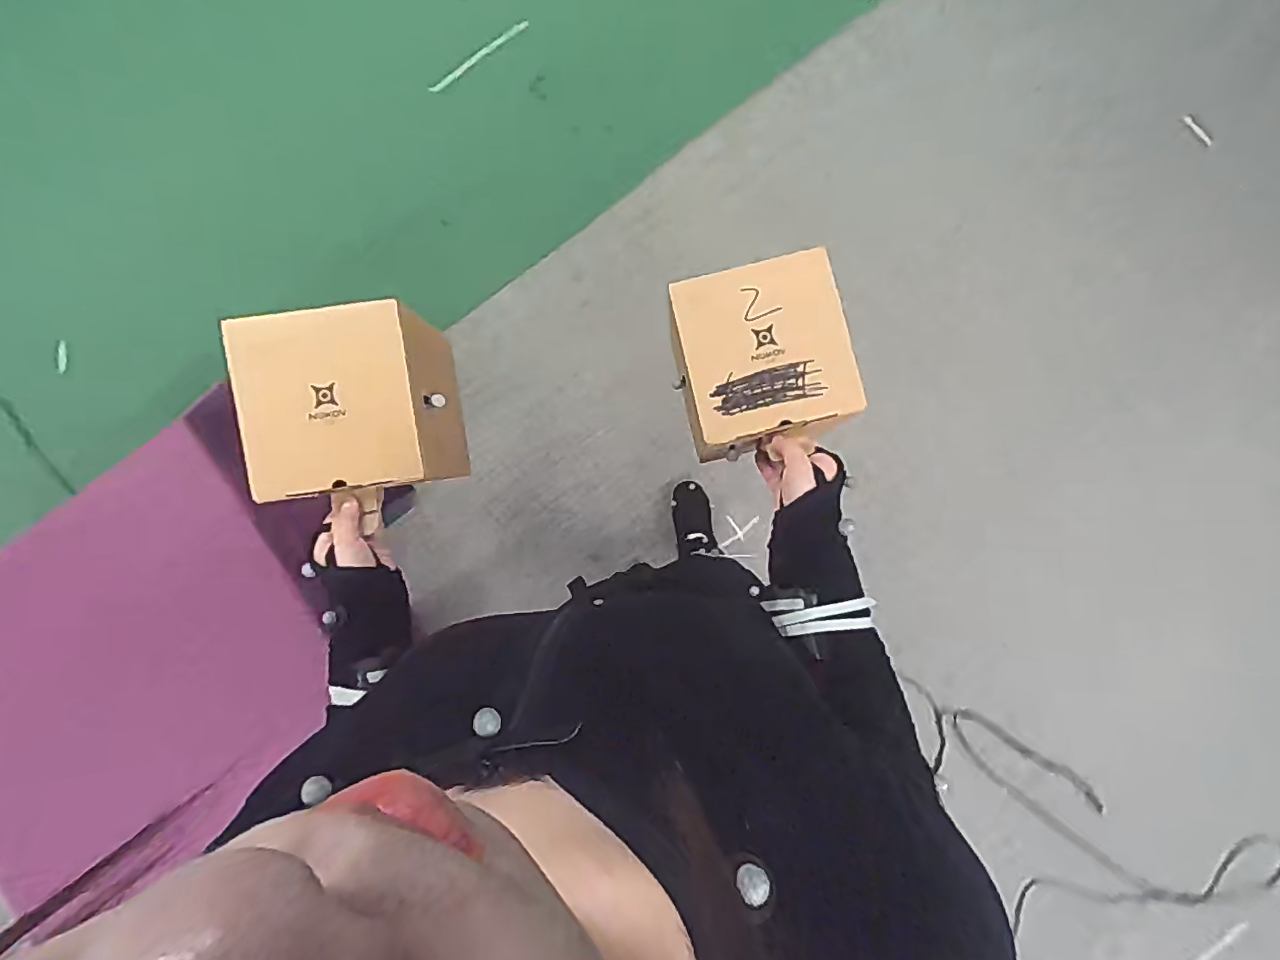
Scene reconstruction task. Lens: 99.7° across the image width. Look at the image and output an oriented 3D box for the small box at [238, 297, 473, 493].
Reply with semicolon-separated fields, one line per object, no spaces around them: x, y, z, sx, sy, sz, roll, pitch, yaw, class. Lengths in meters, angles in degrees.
-0.293;-0.085;0.594;0.168;0.176;0.179;-7;94;-3;small box
